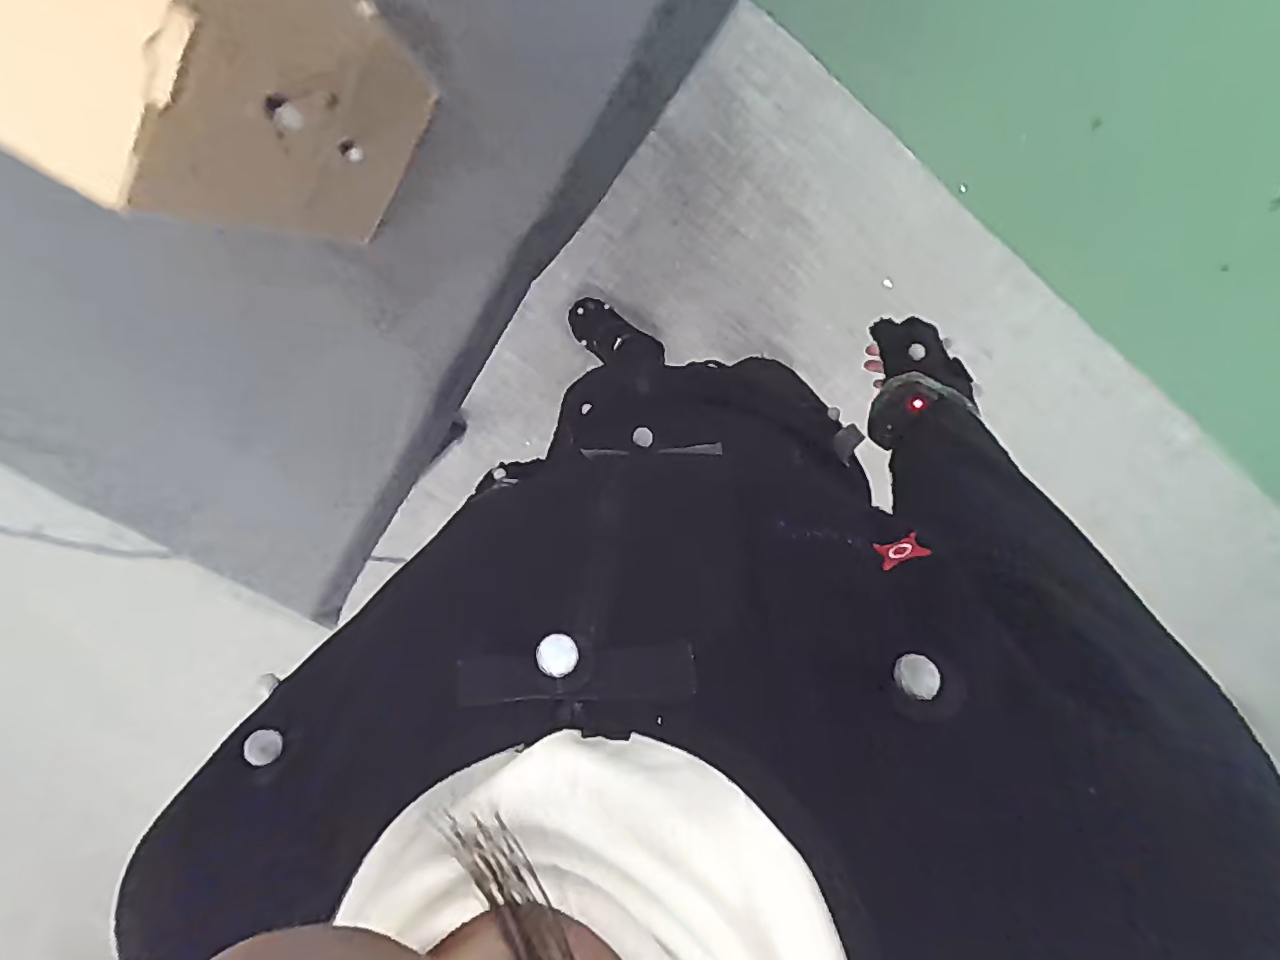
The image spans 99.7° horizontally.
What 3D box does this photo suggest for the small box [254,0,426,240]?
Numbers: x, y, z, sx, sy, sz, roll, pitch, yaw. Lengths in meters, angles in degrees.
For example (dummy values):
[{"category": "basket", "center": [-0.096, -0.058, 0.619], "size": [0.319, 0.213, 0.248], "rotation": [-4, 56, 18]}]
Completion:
[{"category": "small box", "center": [-0.313, -0.331, 0.467], "size": [0.168, 0.176, 0.179], "rotation": [32, 106, -13]}]
